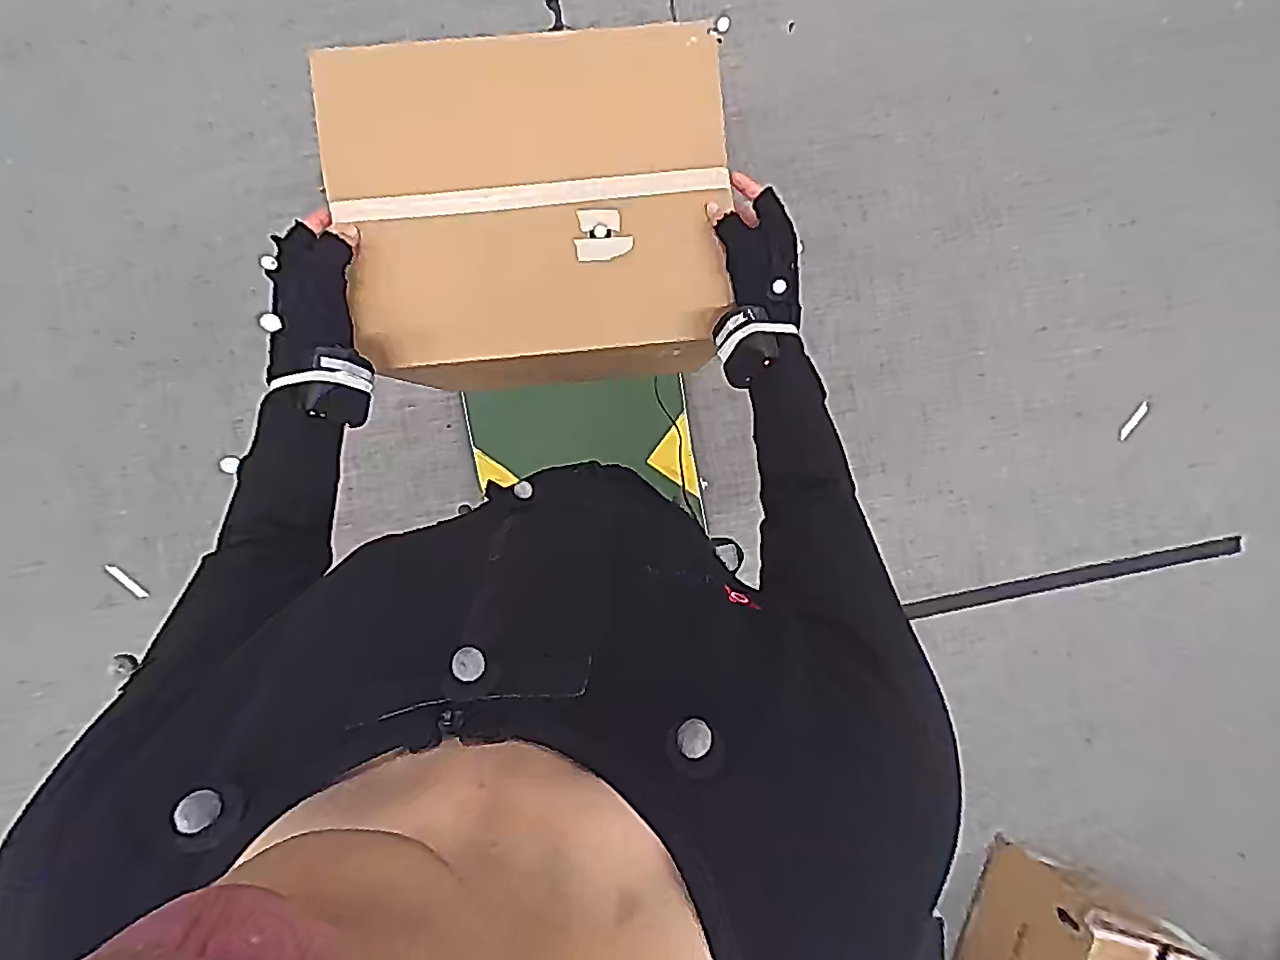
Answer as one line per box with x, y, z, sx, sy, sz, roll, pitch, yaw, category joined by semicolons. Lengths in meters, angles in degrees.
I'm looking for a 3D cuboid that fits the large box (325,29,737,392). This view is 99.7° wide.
-0.117;-0.305;0.714;0.408;0.320;0.320;-6;95;-3;large box
